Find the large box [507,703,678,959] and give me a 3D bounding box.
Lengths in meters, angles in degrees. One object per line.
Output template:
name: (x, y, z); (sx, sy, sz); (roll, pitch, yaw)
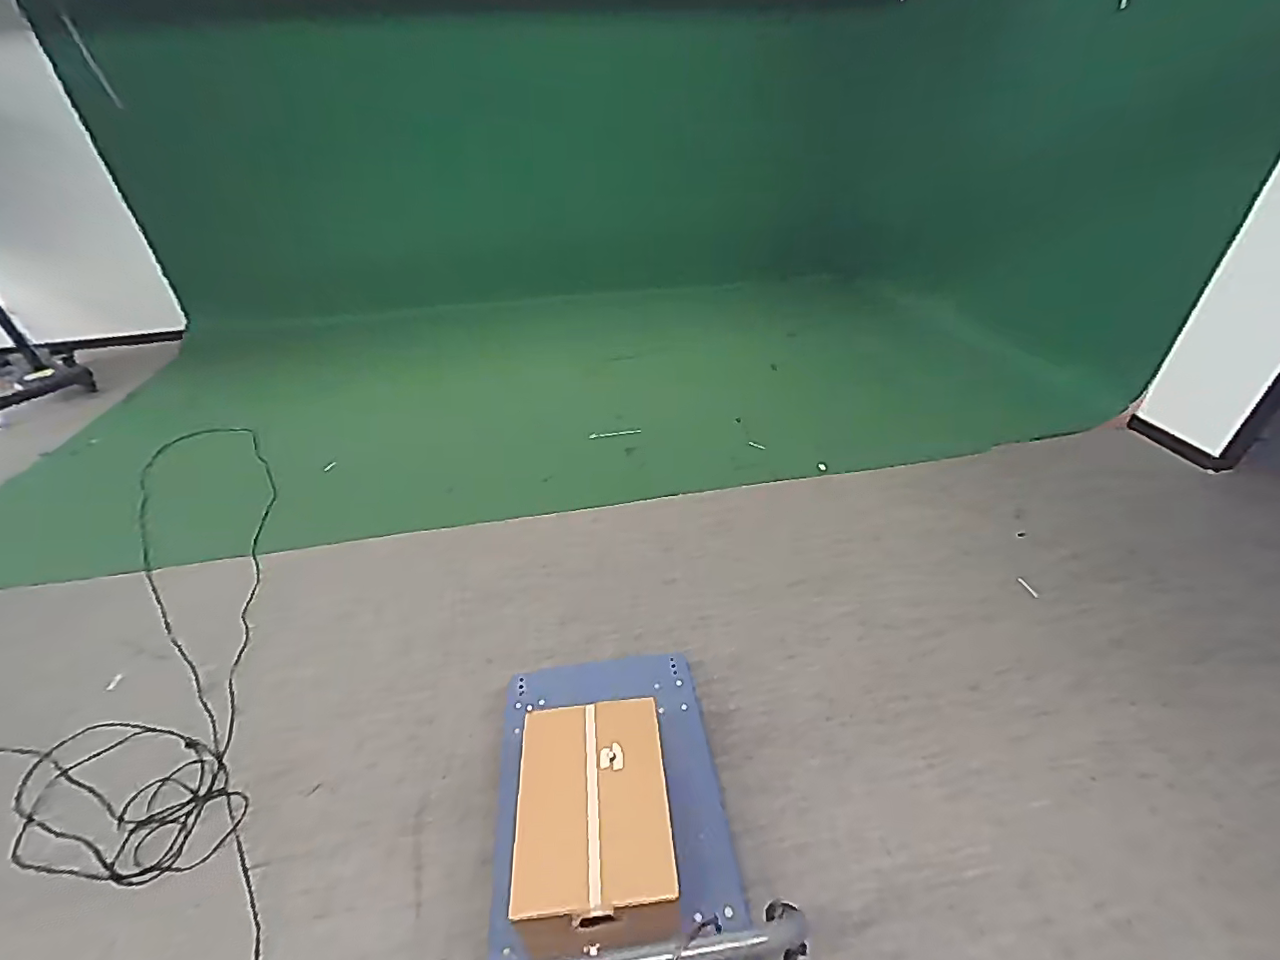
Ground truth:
large box: (-0.098, 0.781, 1.208); (0.320, 0.320, 0.408); (-4, 36, -4)
